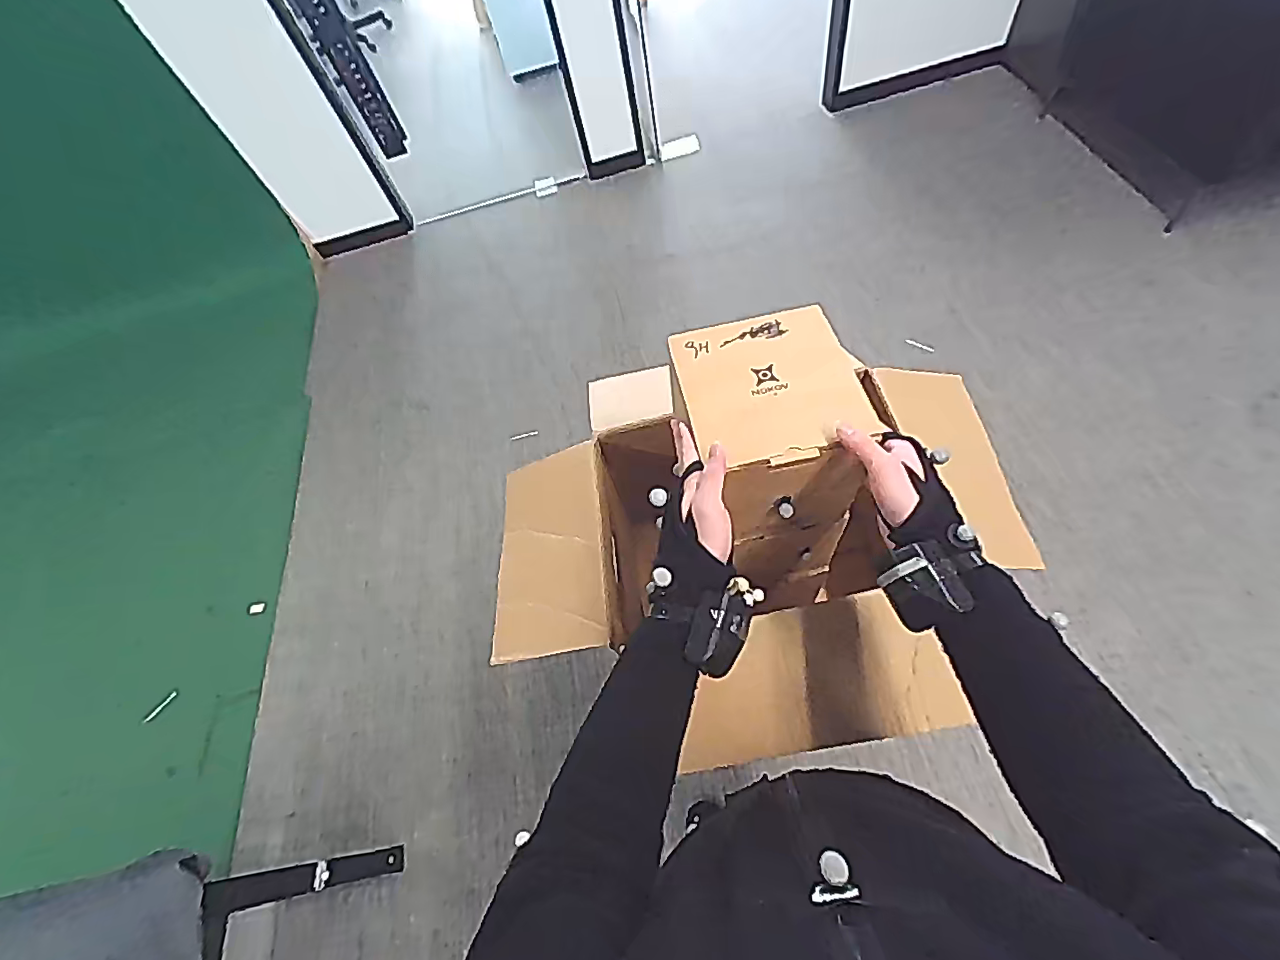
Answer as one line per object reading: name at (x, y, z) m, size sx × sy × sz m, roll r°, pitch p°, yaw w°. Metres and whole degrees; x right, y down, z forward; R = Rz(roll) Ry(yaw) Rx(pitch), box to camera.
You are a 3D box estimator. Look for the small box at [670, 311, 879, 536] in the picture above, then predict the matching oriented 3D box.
small box at (0.132, -0.050, 0.596) m, size 0.168 × 0.176 × 0.179 m, roll -11°, pitch 61°, yaw 0°
